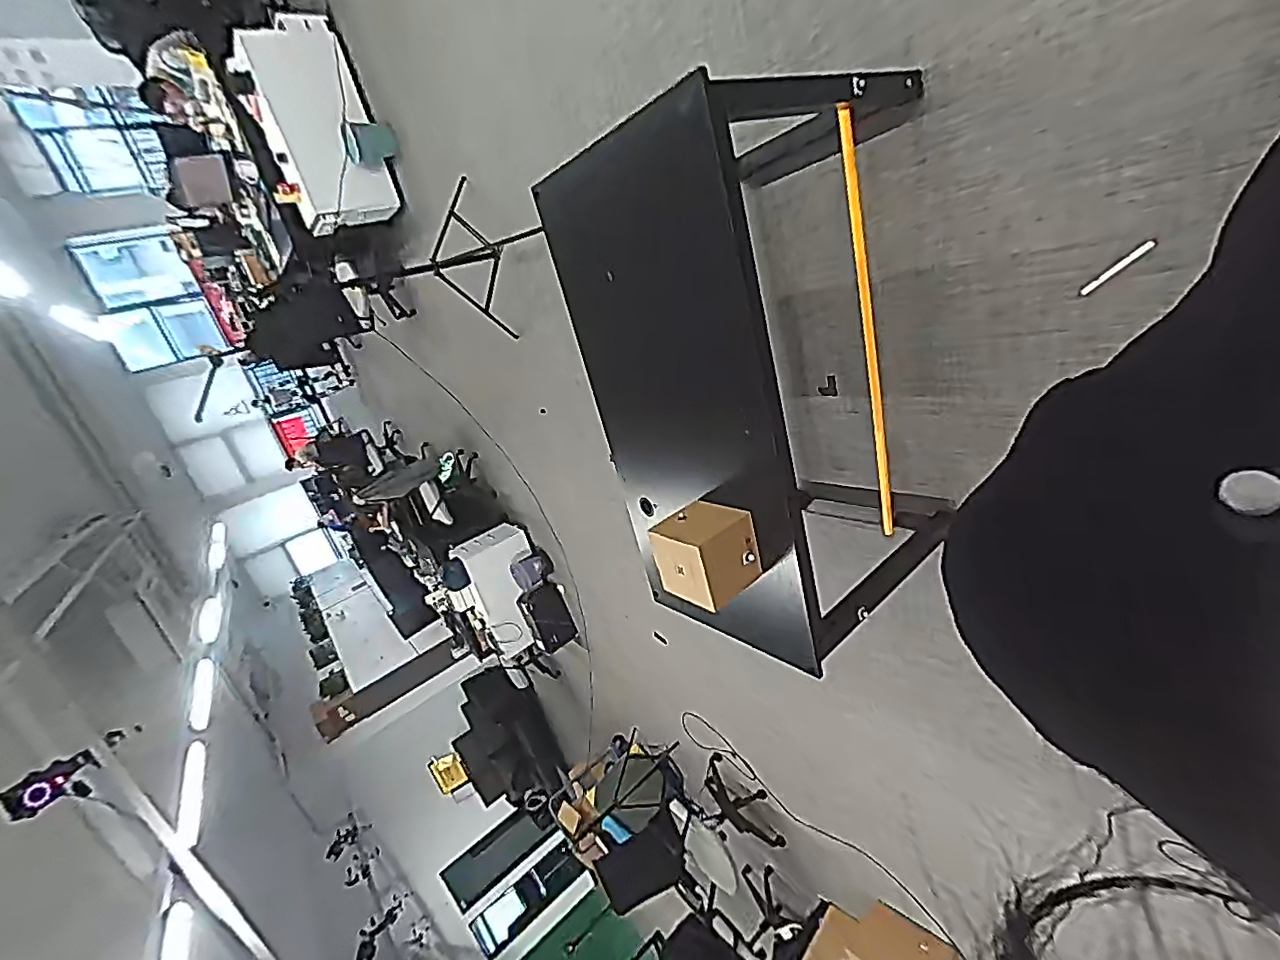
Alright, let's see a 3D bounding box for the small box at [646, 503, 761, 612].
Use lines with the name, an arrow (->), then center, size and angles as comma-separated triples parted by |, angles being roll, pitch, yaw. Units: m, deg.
small box -> 0.145, 0.165, 1.226 | 0.179, 0.176, 0.168 | 11, 124, 52
